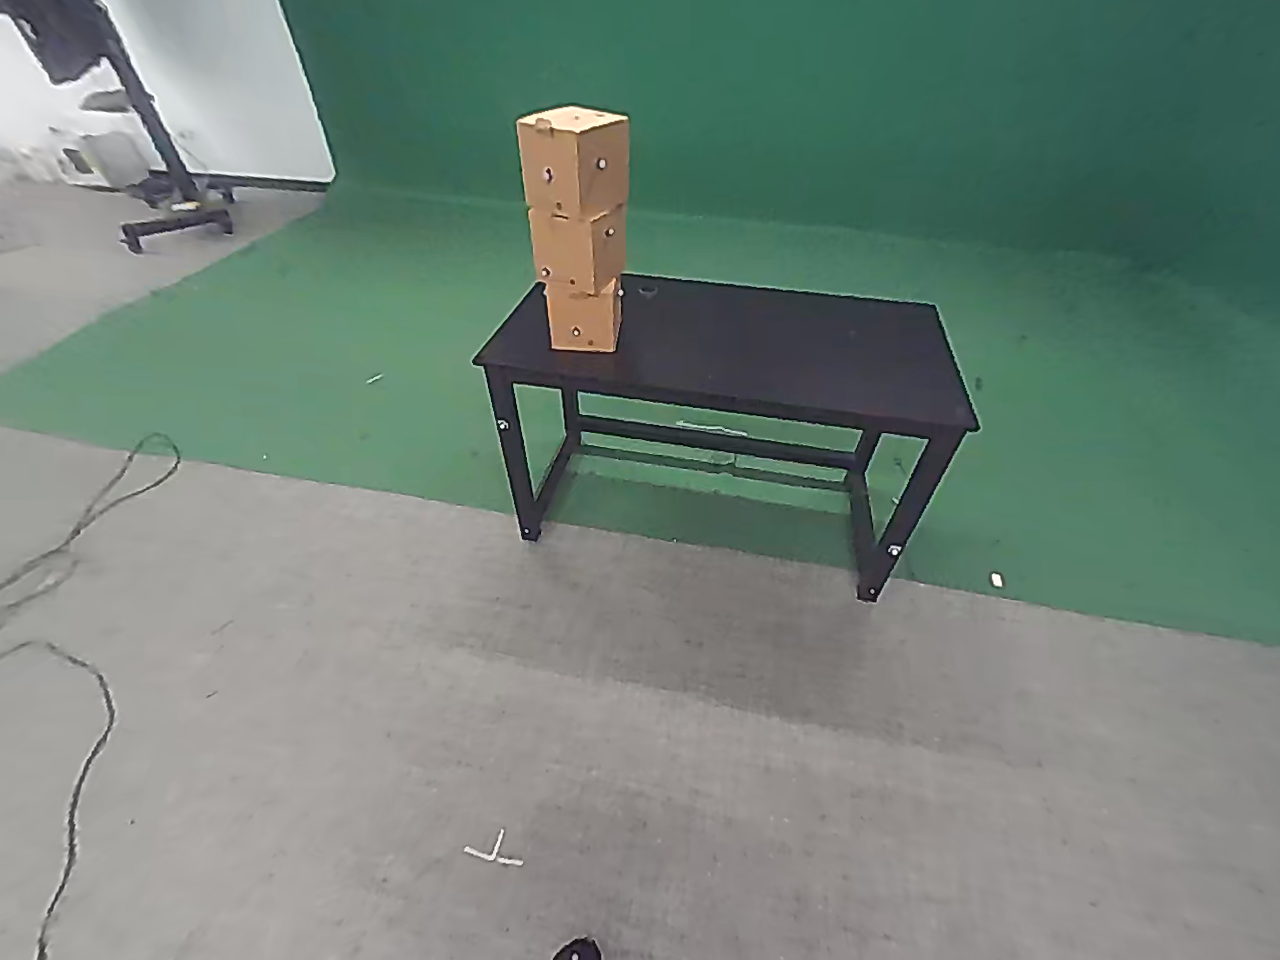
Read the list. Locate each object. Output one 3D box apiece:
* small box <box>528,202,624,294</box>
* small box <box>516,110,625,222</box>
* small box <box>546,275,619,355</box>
[{"bbox_3d":[-0.146,-0.569,1.304,0.168,0.176,0.179,19,47,17],"label":"small box"},{"bbox_3d":[-0.144,-0.692,1.194,0.168,0.176,0.179,28,52,23],"label":"small box"},{"bbox_3d":[-0.145,-0.450,1.417,0.168,0.176,0.179,4,45,2],"label":"small box"}]
